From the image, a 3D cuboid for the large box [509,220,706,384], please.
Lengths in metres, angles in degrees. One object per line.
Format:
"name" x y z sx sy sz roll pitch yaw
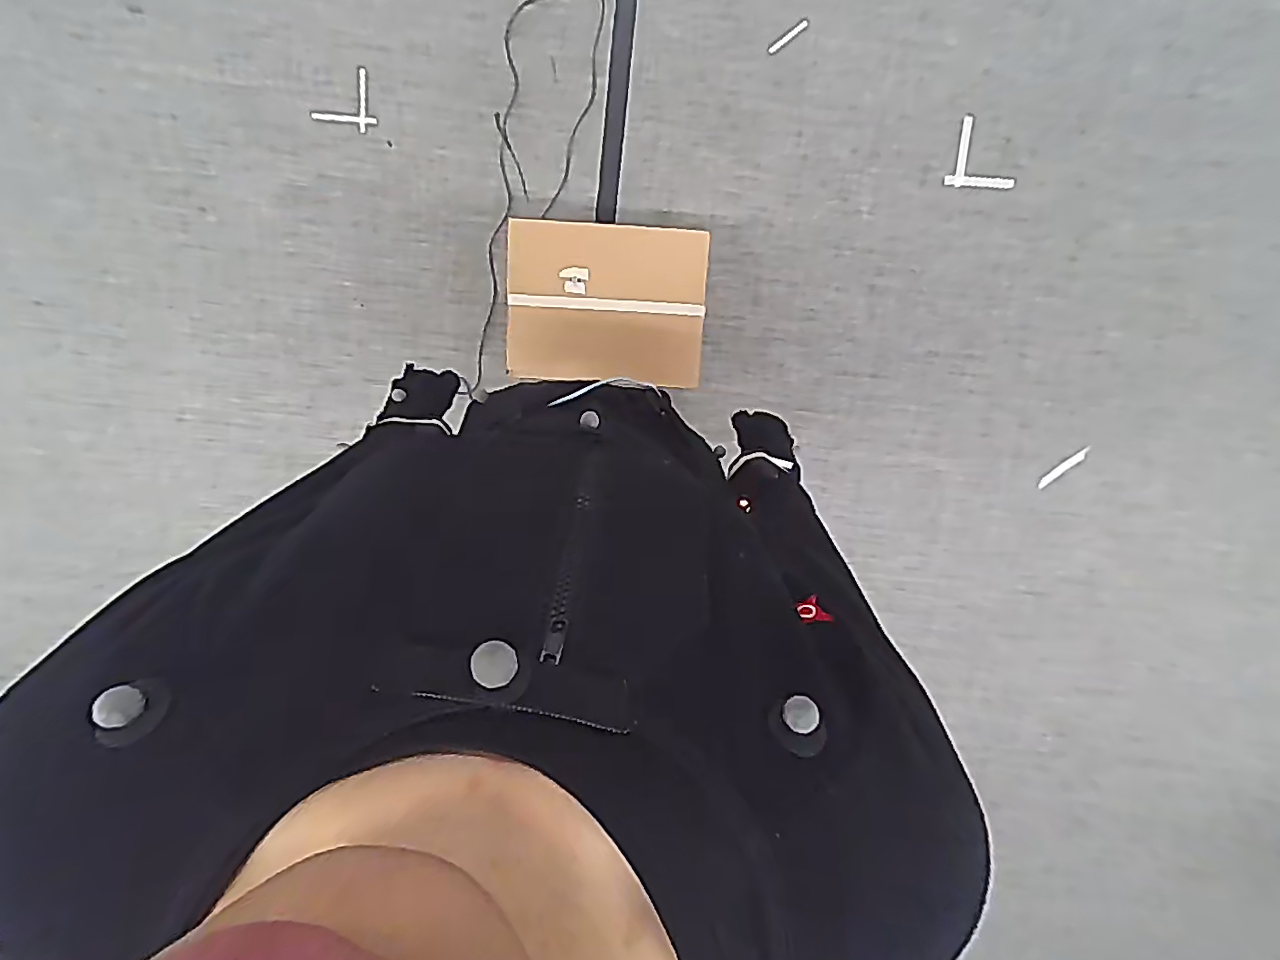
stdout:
"large box" -0.070 -0.393 1.259 0.408 0.320 0.320 3 101 -1
